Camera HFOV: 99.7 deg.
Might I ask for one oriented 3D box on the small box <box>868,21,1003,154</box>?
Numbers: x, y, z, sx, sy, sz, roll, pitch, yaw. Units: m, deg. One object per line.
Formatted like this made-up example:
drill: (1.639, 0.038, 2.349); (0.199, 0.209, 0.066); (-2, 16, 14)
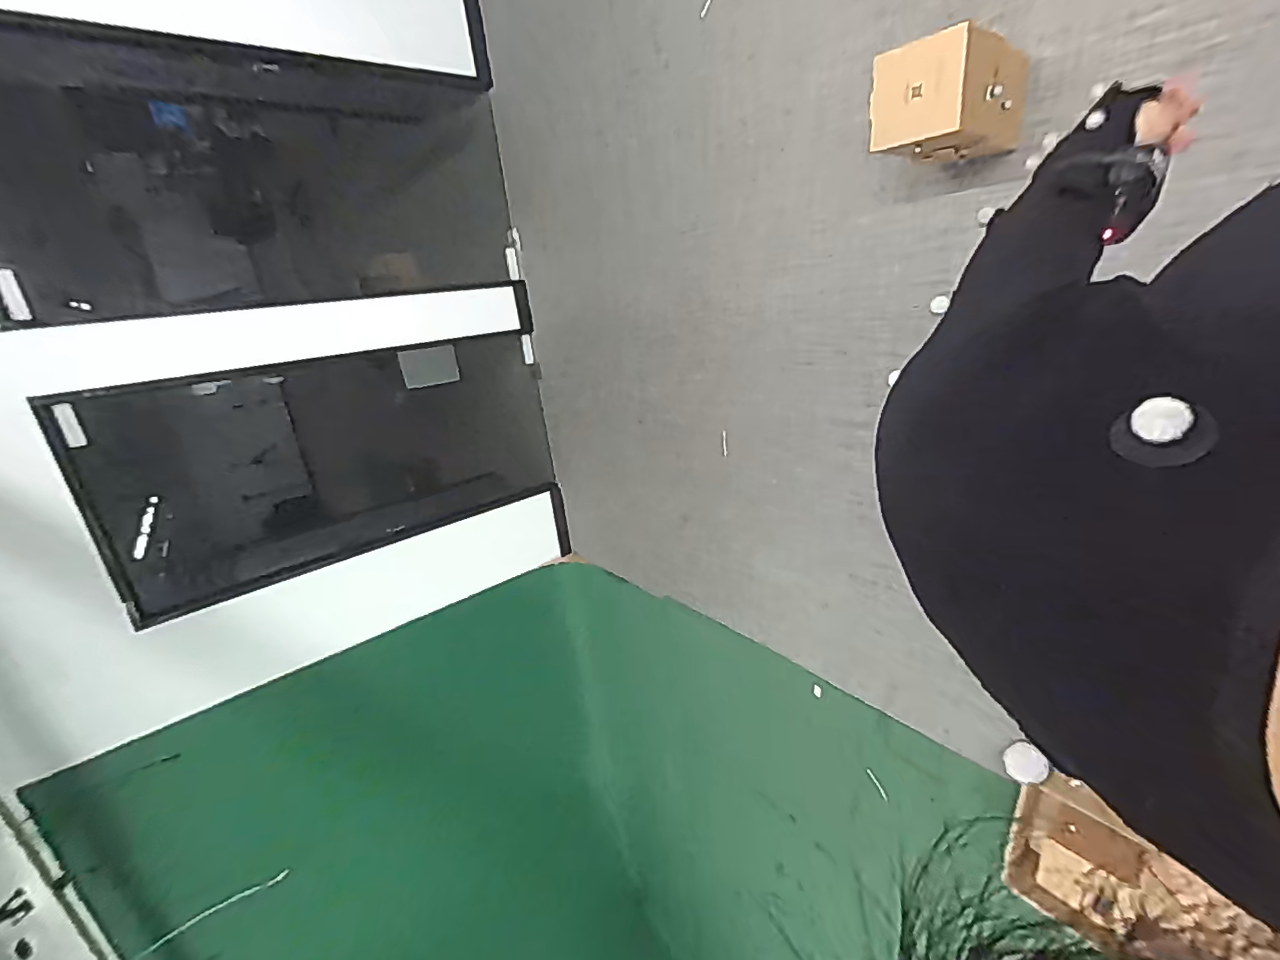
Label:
small box: (0.580, -0.760, 1.070); (0.179, 0.176, 0.168); (18, 121, 49)

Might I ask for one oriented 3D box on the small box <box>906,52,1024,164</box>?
small box: (0.702, -0.800, 1.171); (0.168, 0.176, 0.179); (18, 121, 49)
